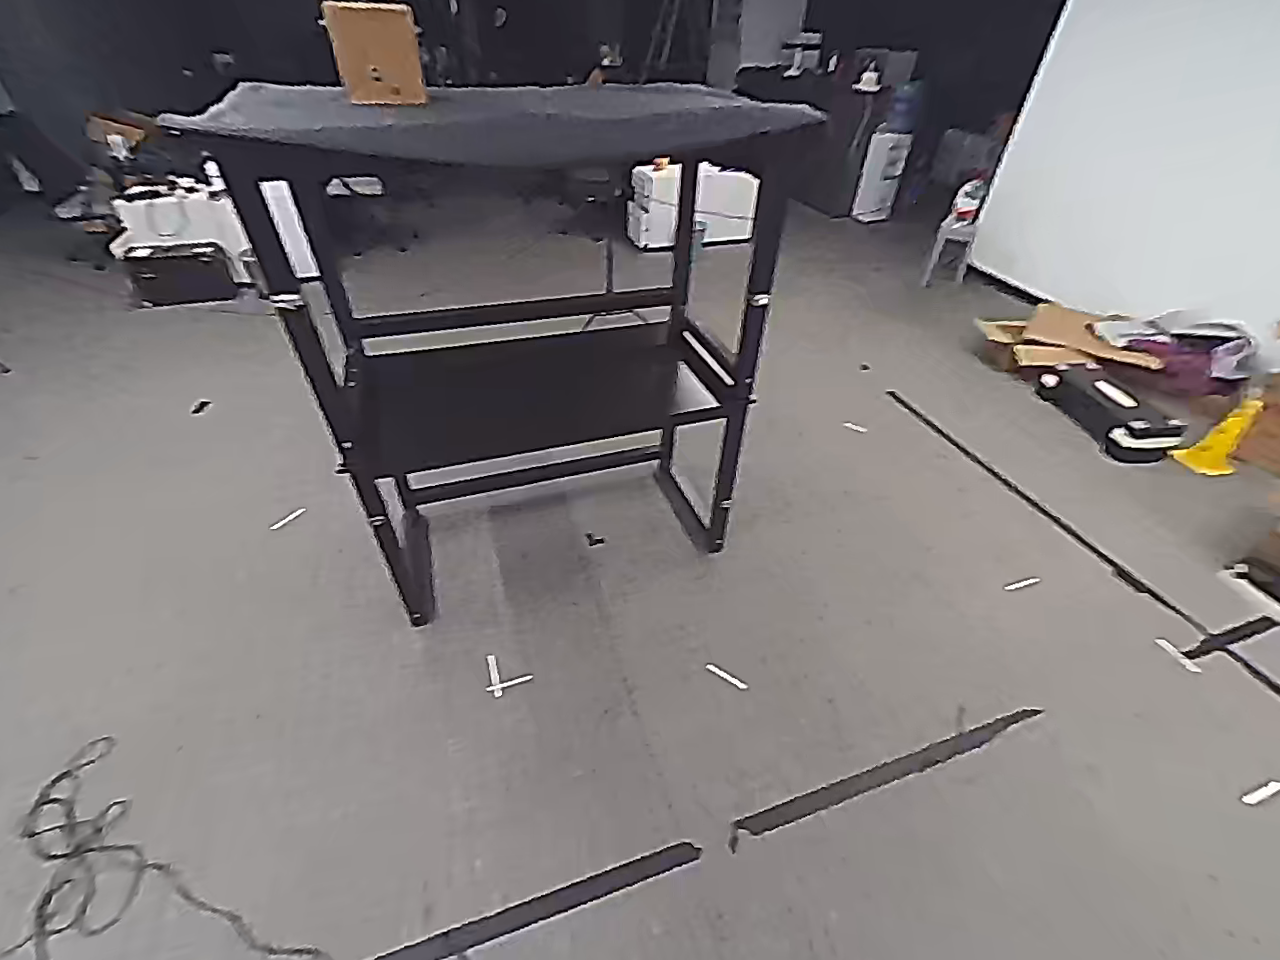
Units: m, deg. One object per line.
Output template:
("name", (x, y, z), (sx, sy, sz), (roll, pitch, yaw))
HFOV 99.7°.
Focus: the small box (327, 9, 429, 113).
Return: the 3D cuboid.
("small box", (-0.579, -0.937, 1.209), (0.168, 0.176, 0.179), (-13, 44, -17))
